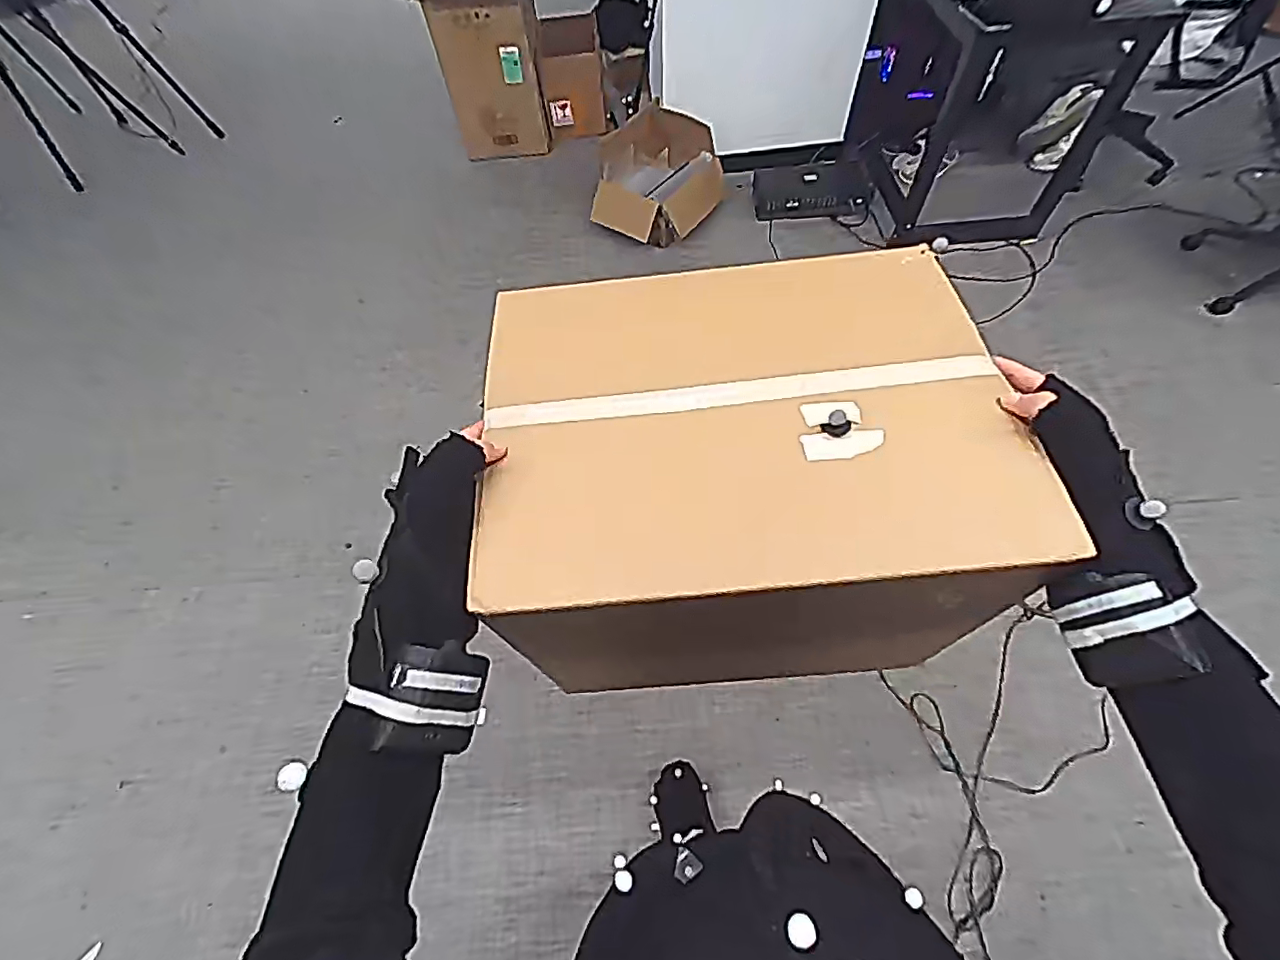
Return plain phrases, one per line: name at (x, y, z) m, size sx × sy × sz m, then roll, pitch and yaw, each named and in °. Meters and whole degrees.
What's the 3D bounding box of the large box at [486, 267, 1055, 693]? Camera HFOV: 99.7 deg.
large box at (0.086, 0.020, 0.574) m, size 0.408 × 0.320 × 0.320 m, roll -6°, pitch 59°, yaw 2°
